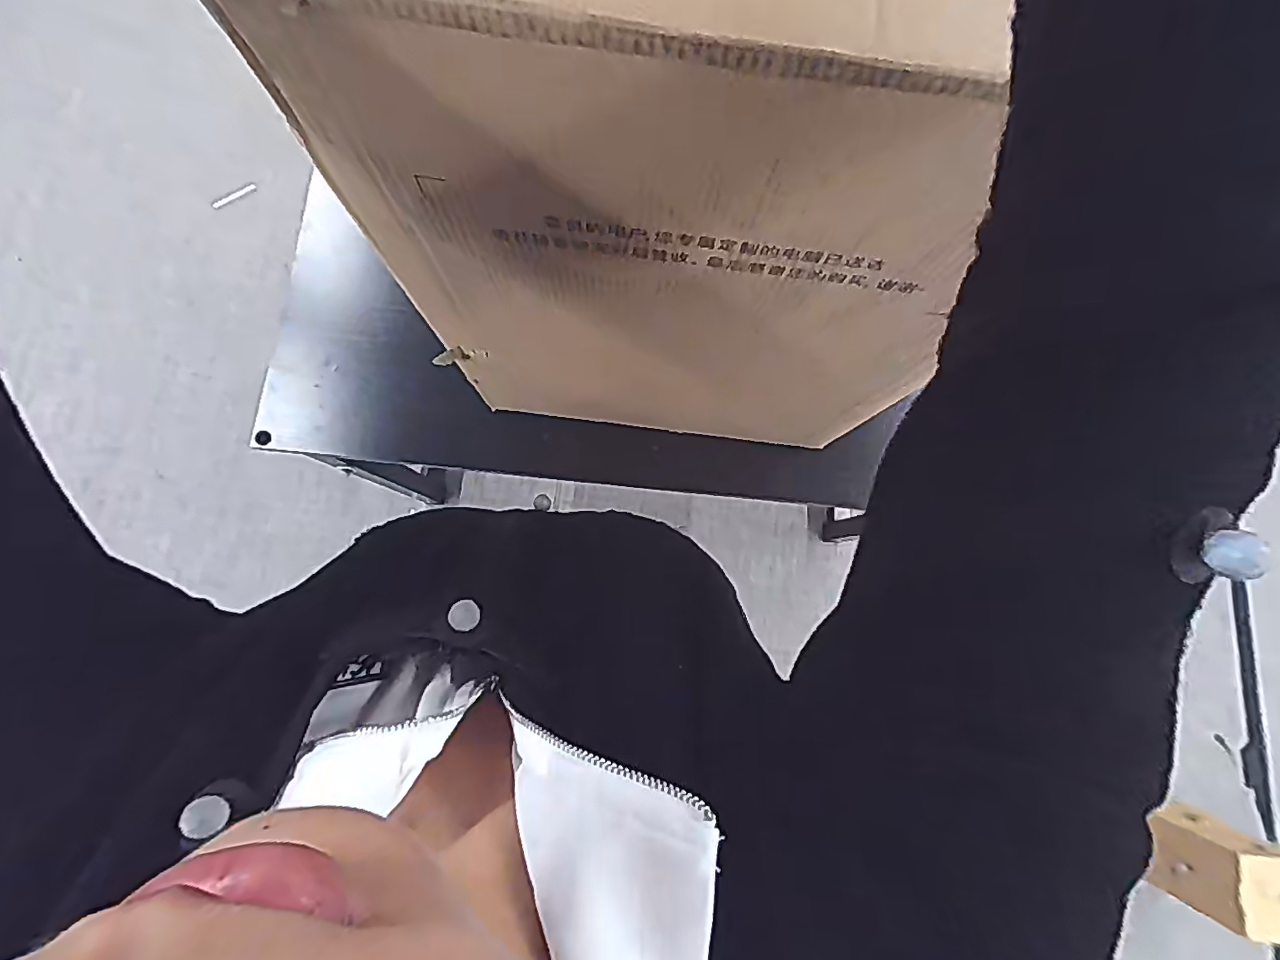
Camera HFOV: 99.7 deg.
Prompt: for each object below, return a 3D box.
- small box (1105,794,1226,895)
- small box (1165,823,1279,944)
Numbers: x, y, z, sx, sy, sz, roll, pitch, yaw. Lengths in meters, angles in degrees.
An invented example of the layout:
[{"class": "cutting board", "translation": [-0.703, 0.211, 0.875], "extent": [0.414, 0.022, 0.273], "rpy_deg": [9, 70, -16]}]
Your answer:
[{"class": "small box", "translation": [1.341, 0.926, 1.381], "extent": [0.168, 0.176, 0.179], "rpy_deg": [3, 80, -2]}, {"class": "small box", "translation": [1.349, 0.902, 1.218], "extent": [0.179, 0.176, 0.168], "rpy_deg": [7, 80, -1]}]
